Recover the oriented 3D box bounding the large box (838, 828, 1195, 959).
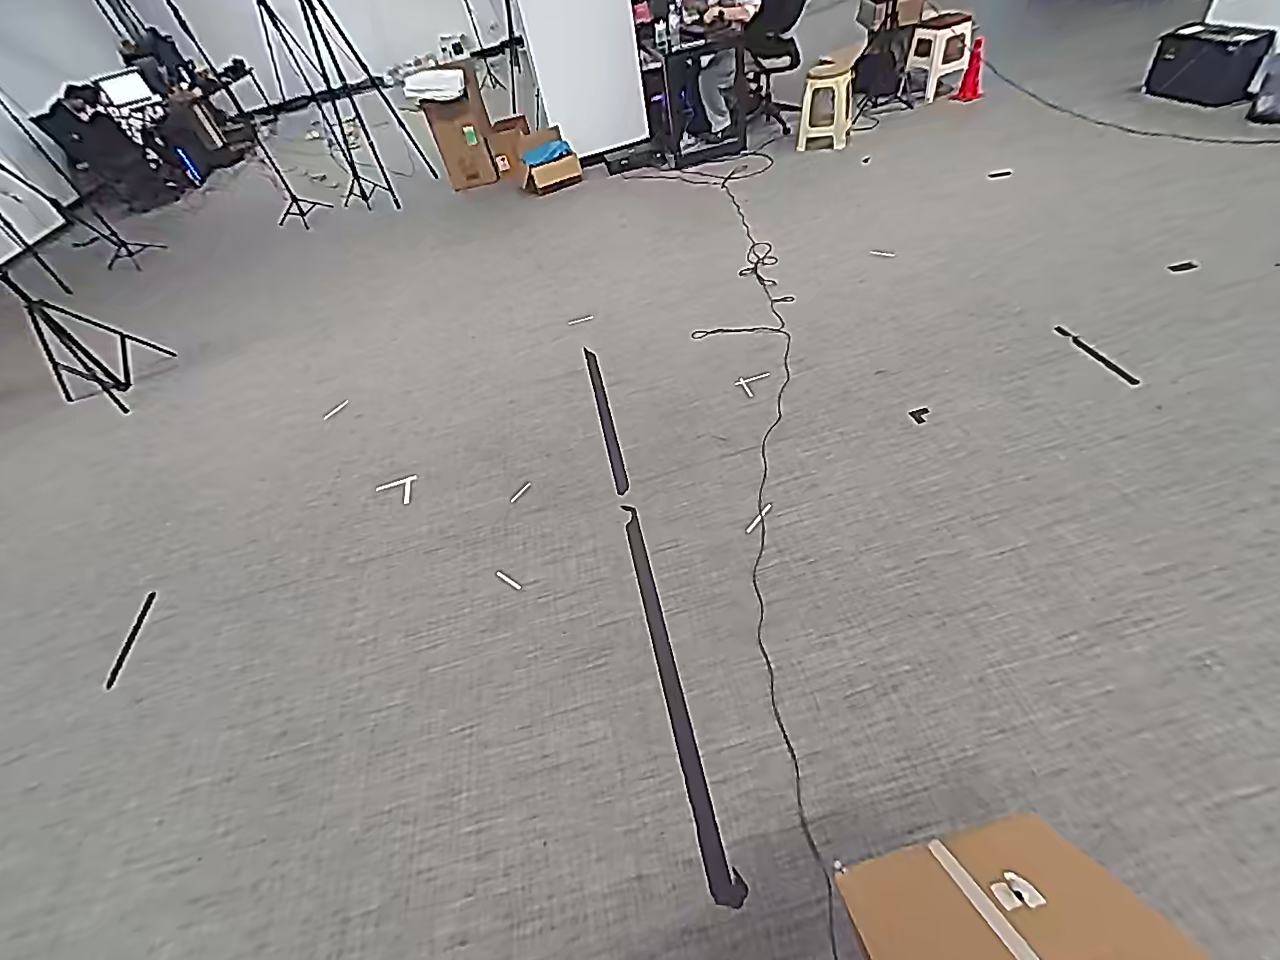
[{"bbox_3d":[0.481,0.692,0.604,0.320,0.408,0.320,-17,84,1],"label":"large box"}]
